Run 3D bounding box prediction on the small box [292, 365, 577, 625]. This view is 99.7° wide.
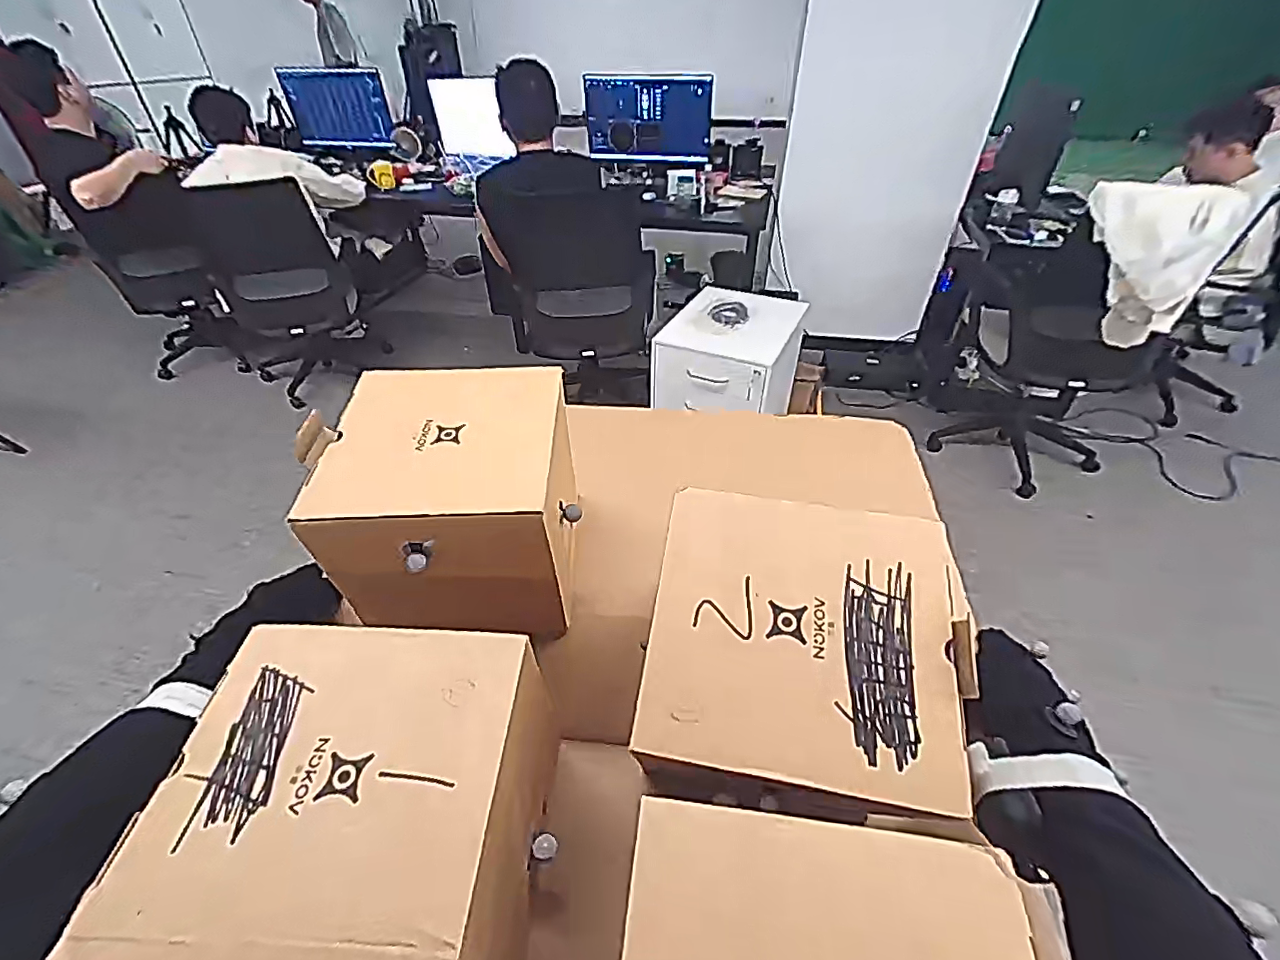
[{"bbox_3d":[-0.153,0.016,0.483,0.179,0.176,0.168,-2,46,1],"label":"small box"}]
